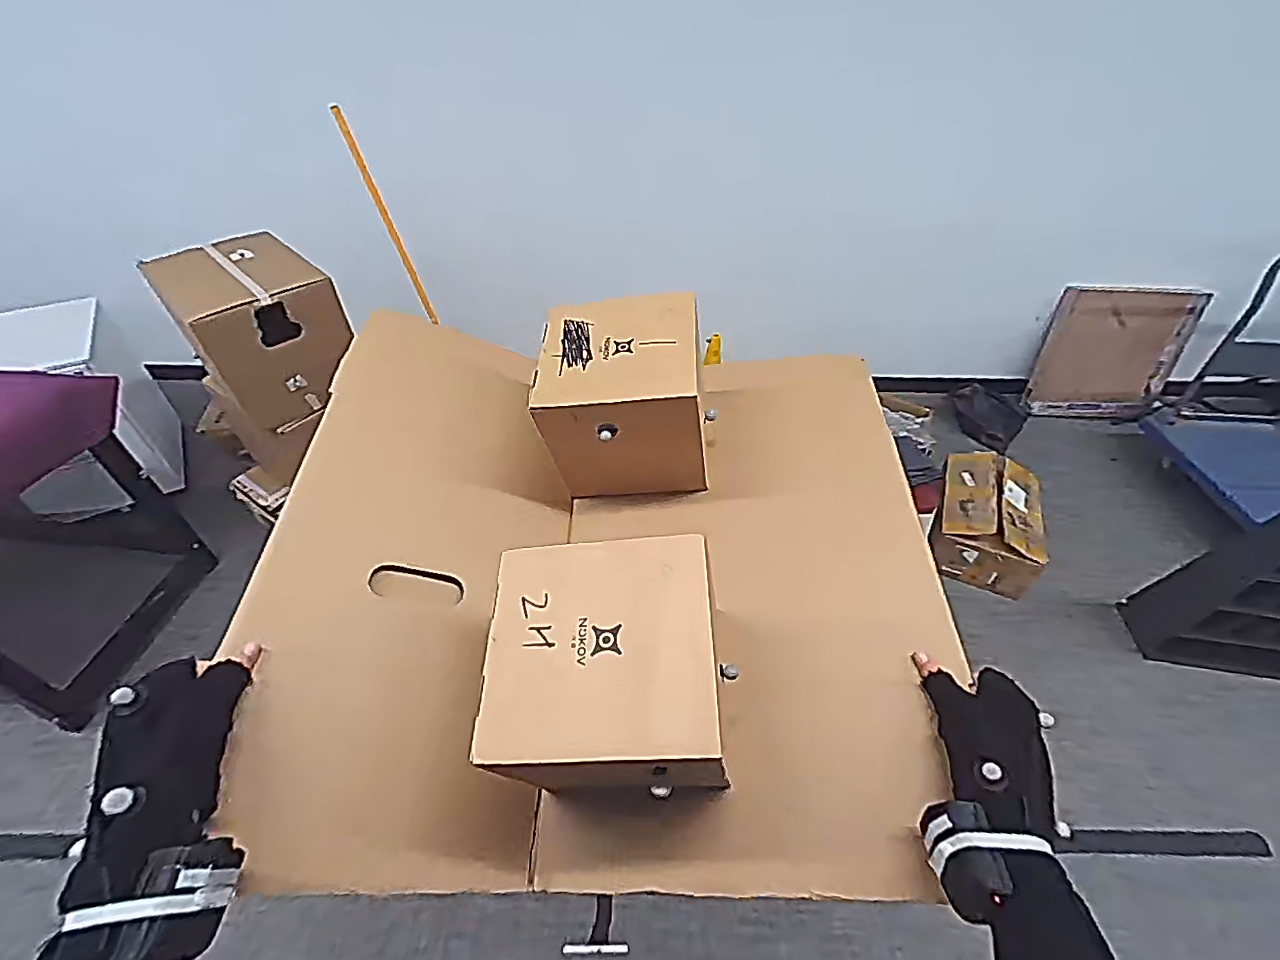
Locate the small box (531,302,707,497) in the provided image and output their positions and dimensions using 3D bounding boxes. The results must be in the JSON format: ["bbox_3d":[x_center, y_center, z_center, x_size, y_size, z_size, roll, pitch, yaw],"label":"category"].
[{"bbox_3d":[-0.012,-0.090,0.660,0.179,0.176,0.168,-3,55,9],"label":"small box"}]

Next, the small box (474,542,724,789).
[{"bbox_3d":[-0.018,0.170,0.479,0.179,0.176,0.168,-6,54,9],"label":"small box"}]
